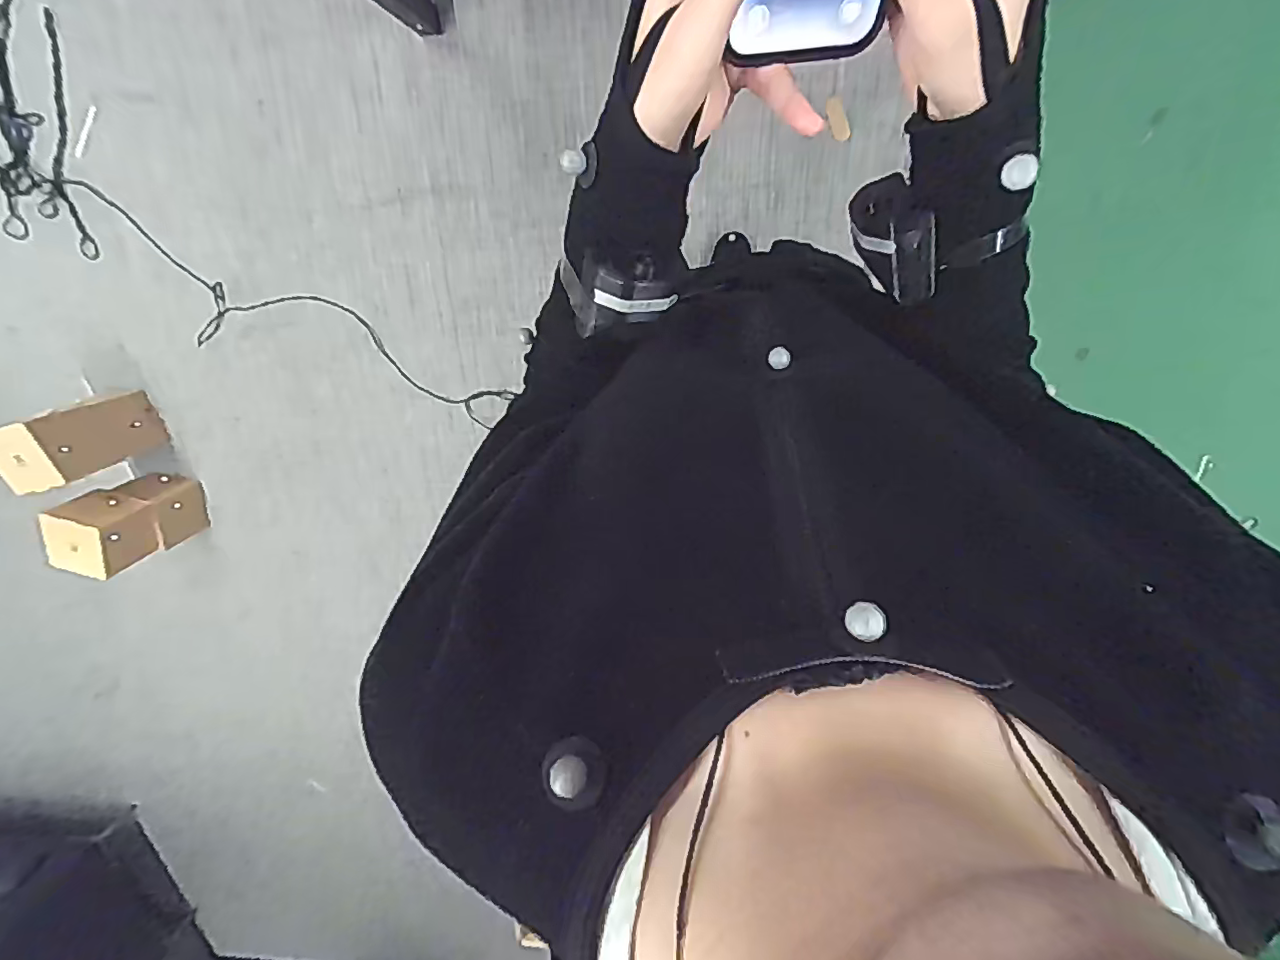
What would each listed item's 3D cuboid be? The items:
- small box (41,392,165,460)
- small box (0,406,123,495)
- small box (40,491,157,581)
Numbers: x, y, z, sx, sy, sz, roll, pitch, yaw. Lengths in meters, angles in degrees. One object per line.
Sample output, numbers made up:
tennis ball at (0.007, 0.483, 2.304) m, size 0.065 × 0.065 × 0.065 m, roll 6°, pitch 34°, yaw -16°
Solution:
small box at (-1.565, -0.154, 1.595) m, size 0.179 × 0.176 × 0.168 m, roll -6°, pitch 113°, yaw 9°
small box at (-1.567, -0.082, 1.448) m, size 0.168 × 0.176 × 0.179 m, roll -10°, pitch 113°, yaw 9°
small box at (-1.543, 0.157, 1.554) m, size 0.168 × 0.176 × 0.179 m, roll 16°, pitch 113°, yaw -1°
